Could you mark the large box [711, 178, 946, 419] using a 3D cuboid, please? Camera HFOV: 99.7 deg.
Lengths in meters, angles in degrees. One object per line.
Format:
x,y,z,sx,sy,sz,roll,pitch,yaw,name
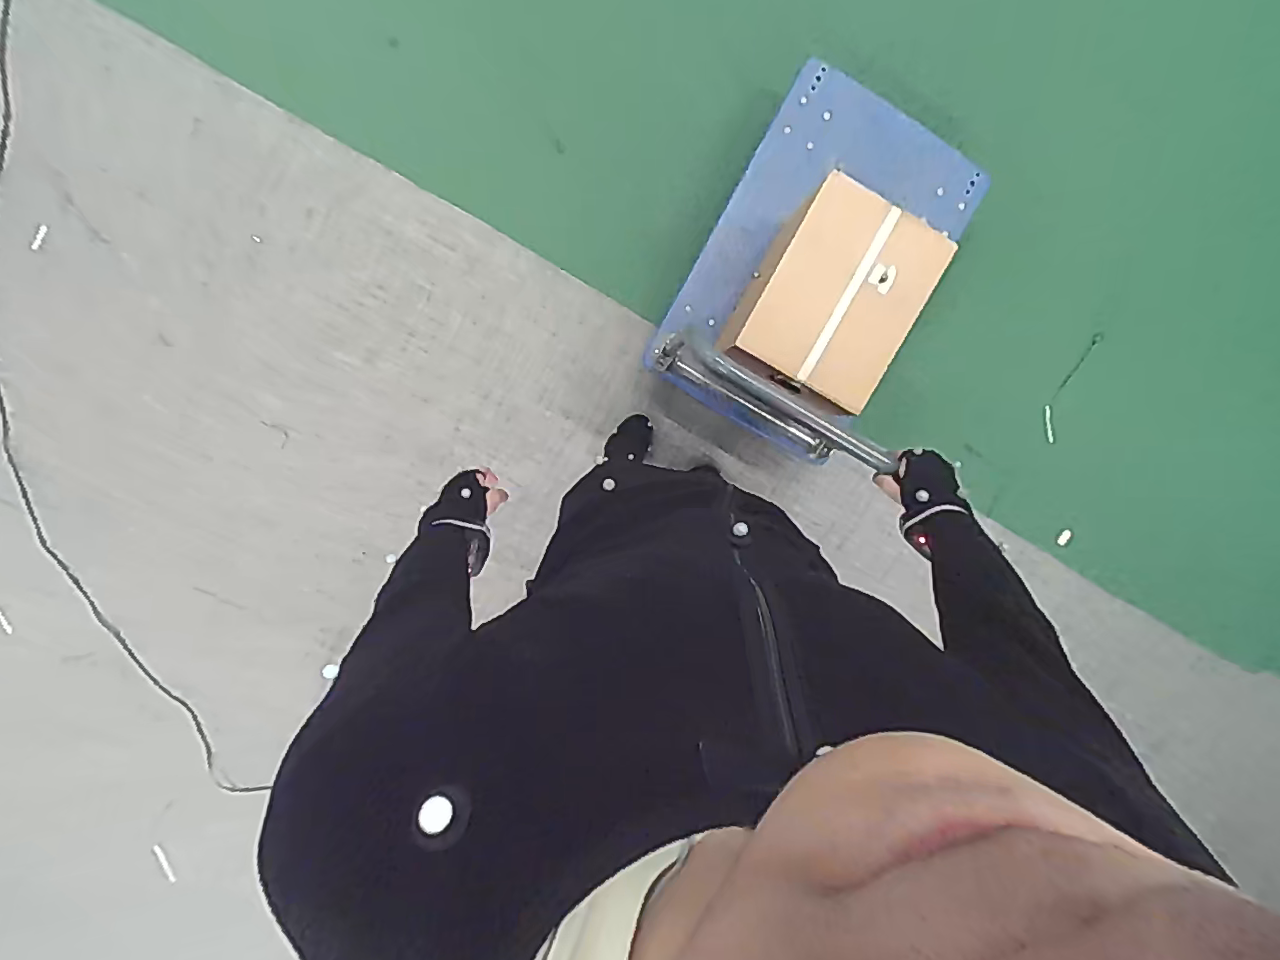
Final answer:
0.413,-0.391,1.283,0.320,0.320,0.408,28,94,-6,large box
